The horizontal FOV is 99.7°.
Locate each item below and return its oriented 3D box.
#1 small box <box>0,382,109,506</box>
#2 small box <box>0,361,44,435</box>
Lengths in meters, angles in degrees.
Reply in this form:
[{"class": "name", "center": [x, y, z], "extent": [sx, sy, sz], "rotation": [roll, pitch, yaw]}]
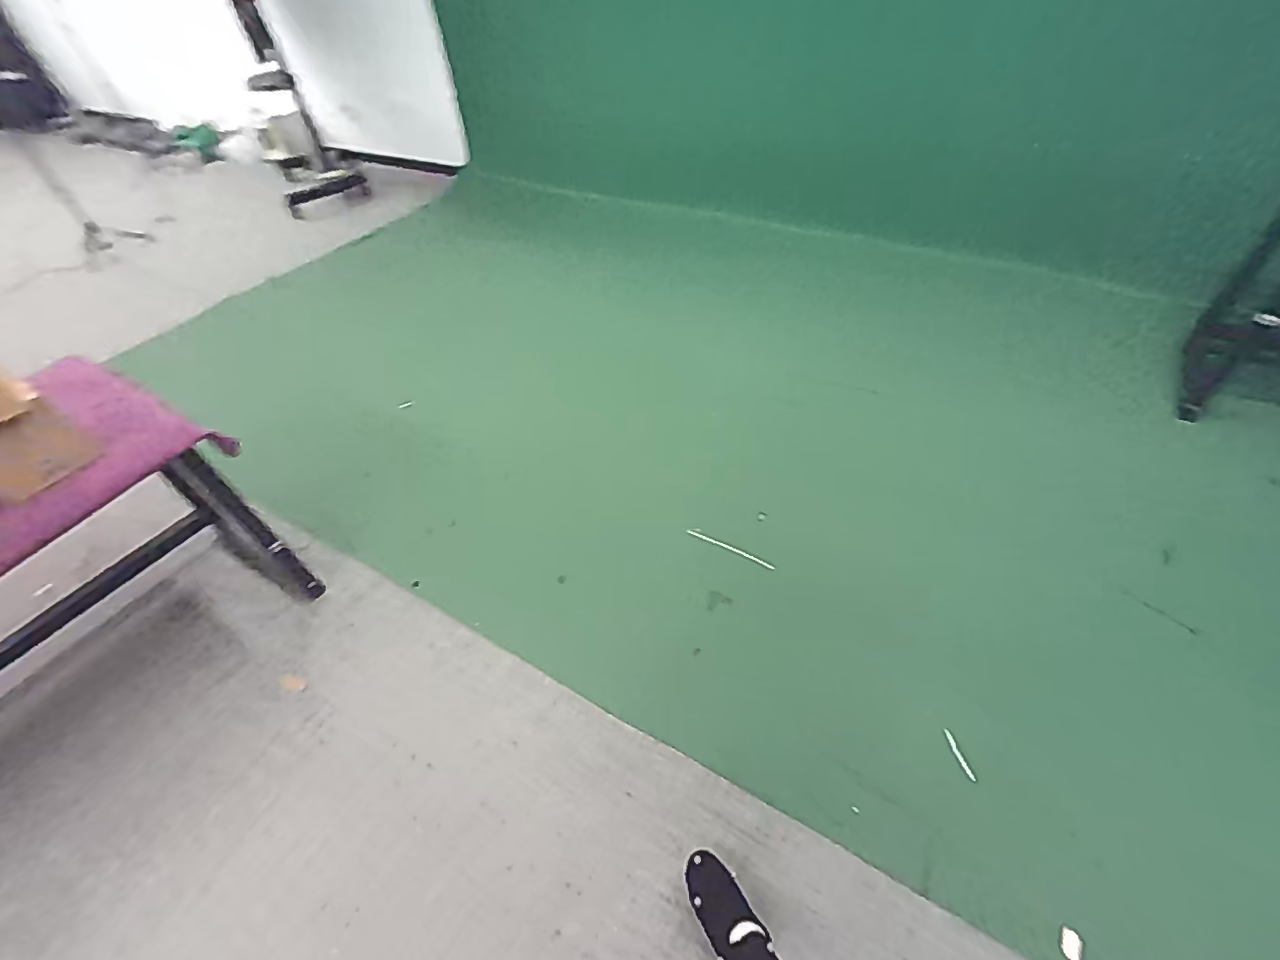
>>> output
[{"class": "small box", "center": [-1.303, -0.077, 1.155], "extent": [0.168, 0.176, 0.179], "rotation": [20, 52, 25]}, {"class": "small box", "center": [-1.307, -0.174, 1.021], "extent": [0.179, 0.176, 0.168], "rotation": [29, 56, 28]}]
